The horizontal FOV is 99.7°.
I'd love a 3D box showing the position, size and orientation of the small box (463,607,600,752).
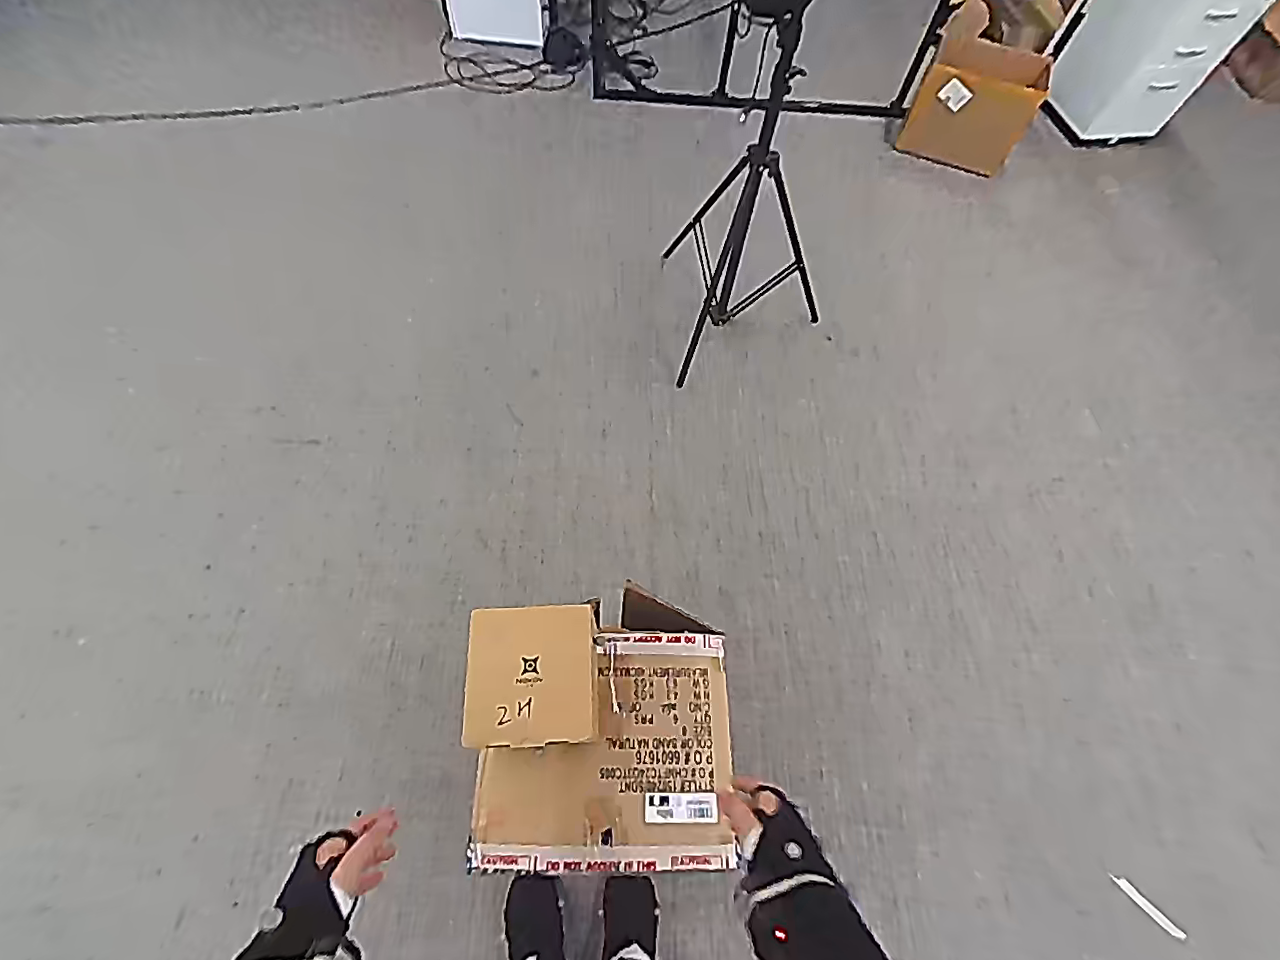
[{"bbox_3d":[-0.145,0.291,0.780,0.168,0.176,0.179,-3,65,-2],"label":"small box"}]
